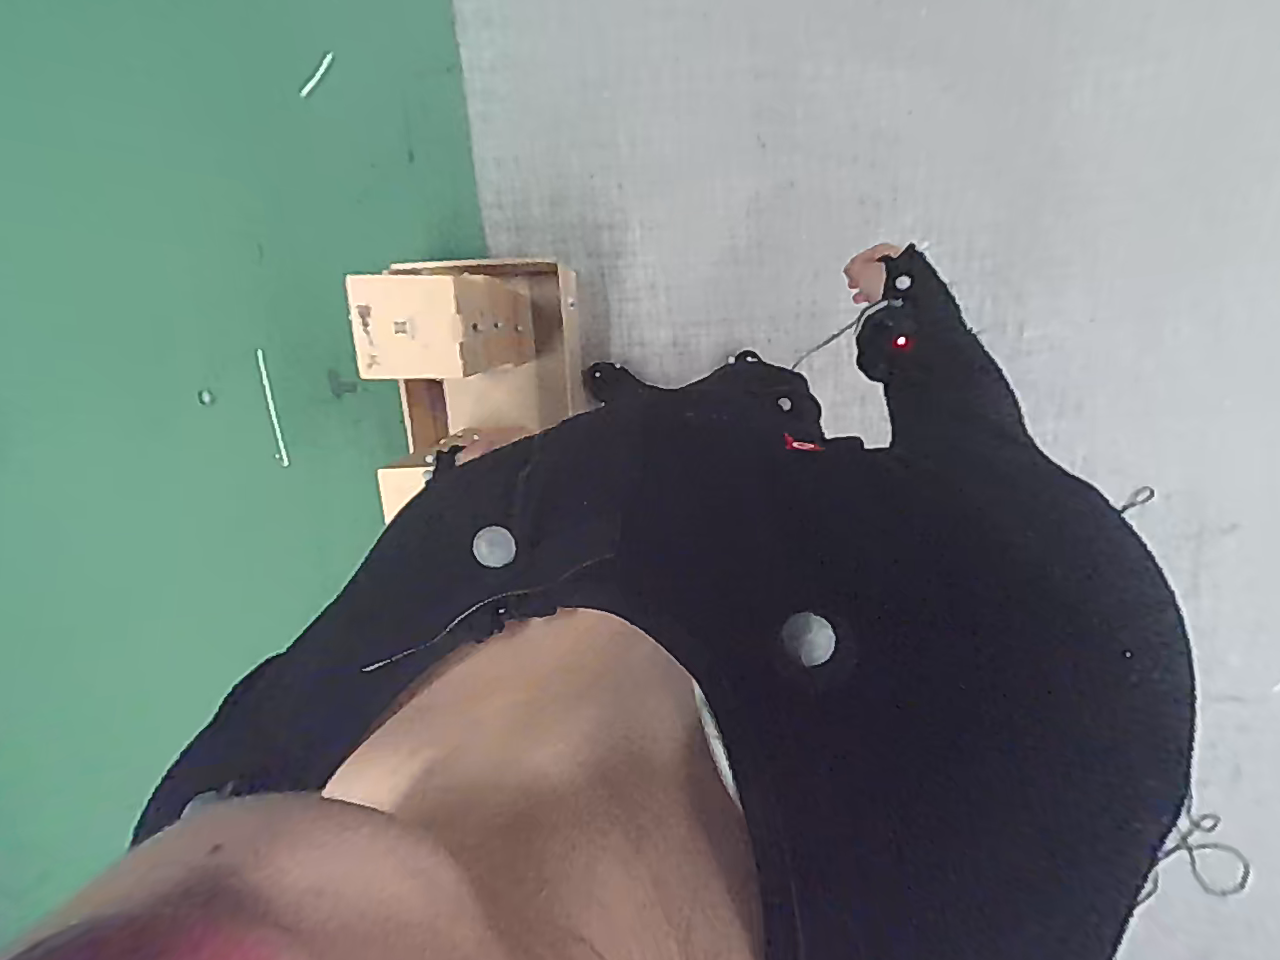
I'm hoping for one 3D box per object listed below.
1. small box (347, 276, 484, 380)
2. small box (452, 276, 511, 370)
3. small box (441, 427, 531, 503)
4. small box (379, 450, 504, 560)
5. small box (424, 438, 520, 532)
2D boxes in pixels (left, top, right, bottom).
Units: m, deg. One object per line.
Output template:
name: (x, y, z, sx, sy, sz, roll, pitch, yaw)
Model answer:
small box: (-0.383, -0.269, 0.959, 0.179, 0.176, 0.168, 0, 106, -1)
small box: (-0.373, -0.318, 1.116, 0.168, 0.176, 0.179, -4, 106, 0)
small box: (-0.377, -0.037, 1.360, 0.179, 0.176, 0.168, -3, 104, 1)
small box: (-0.371, 0.039, 1.039, 0.168, 0.176, 0.179, -3, 104, 2)
small box: (-0.370, 0.009, 1.202, 0.168, 0.176, 0.179, -3, 103, 1)
